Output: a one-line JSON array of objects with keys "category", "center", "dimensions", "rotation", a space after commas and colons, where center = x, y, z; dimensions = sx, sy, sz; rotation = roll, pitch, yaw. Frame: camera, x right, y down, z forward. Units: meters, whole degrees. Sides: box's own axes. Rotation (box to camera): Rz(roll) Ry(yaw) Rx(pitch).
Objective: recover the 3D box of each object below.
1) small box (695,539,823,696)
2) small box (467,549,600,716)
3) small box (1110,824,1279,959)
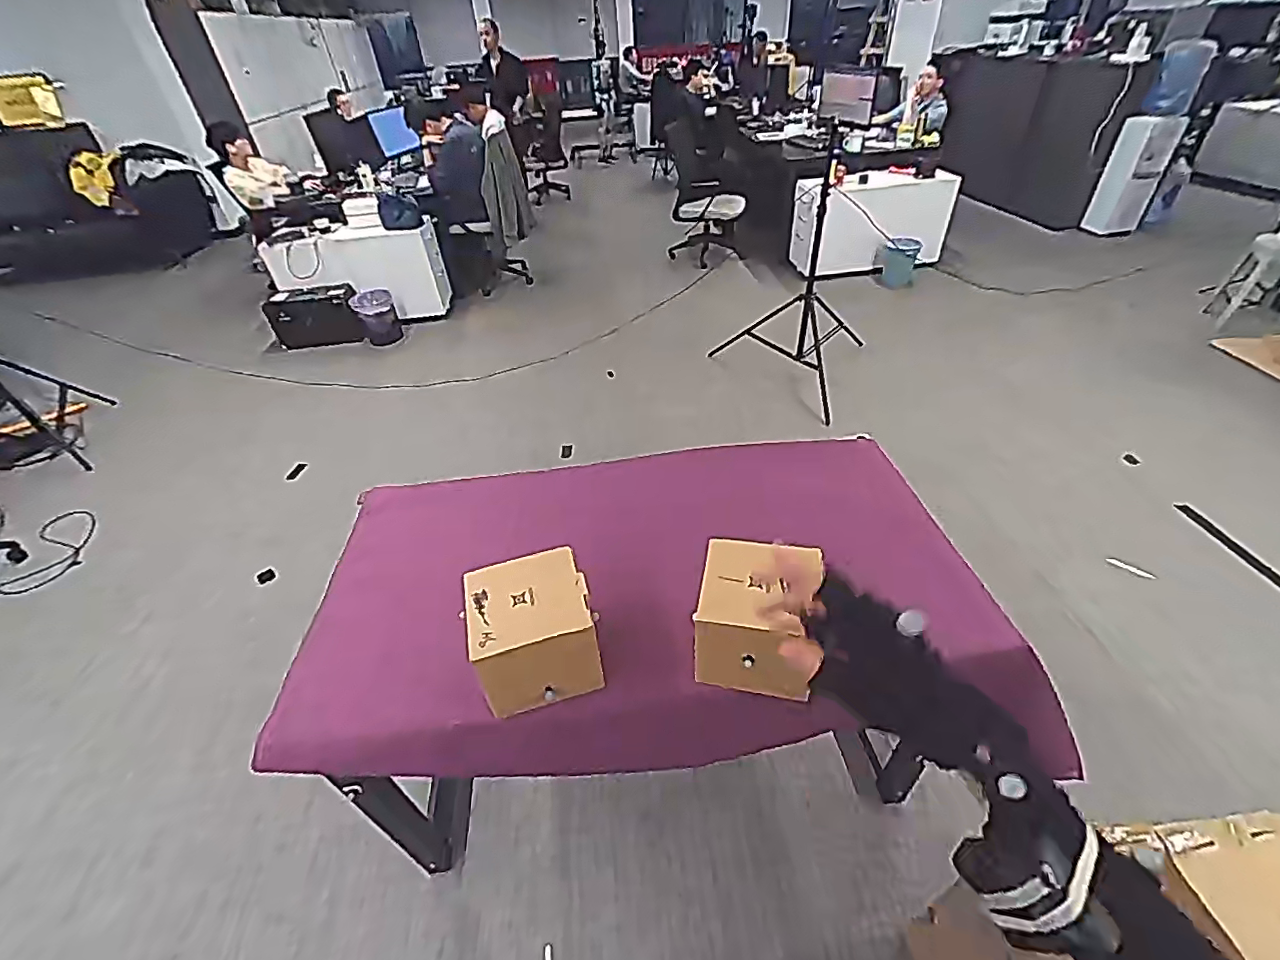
[{"category": "small box", "center": [0.185, 0.218, 0.855], "dimensions": [0.179, 0.176, 0.168], "rotation": [5, 40, 13]}, {"category": "small box", "center": [-0.165, 0.242, 0.861], "dimensions": [0.179, 0.176, 0.168], "rotation": [-13, 40, -11]}, {"category": "small box", "center": [0.694, 0.521, 0.603], "dimensions": [0.168, 0.176, 0.179], "rotation": [-10, 42, -3]}]
